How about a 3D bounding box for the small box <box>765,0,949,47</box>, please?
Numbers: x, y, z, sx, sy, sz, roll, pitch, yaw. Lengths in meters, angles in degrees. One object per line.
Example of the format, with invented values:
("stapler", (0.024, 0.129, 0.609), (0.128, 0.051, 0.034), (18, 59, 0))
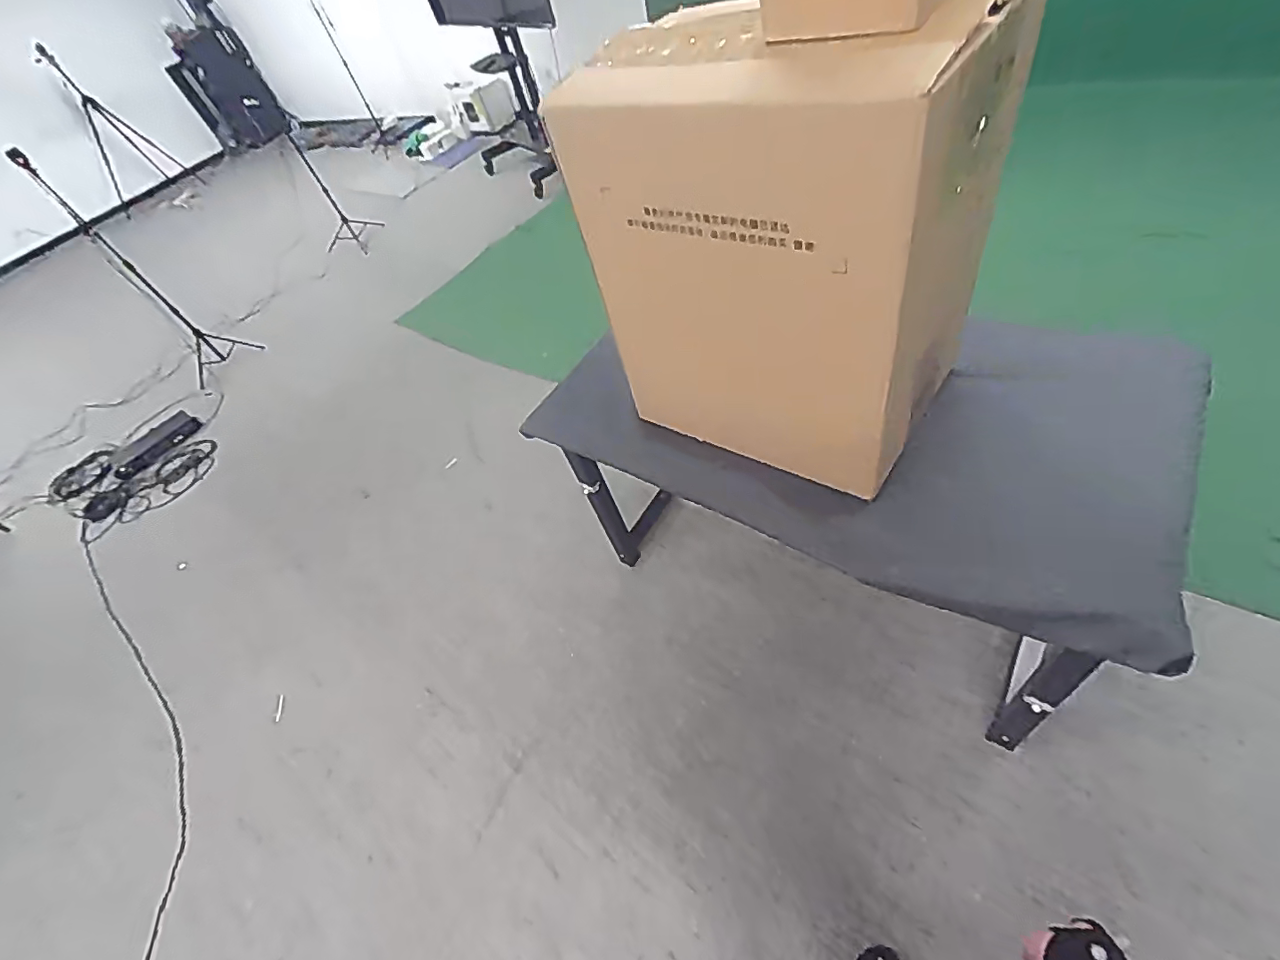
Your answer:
("small box", (0.236, -0.580, 0.555), (0.179, 0.176, 0.168), (25, 69, 33))
